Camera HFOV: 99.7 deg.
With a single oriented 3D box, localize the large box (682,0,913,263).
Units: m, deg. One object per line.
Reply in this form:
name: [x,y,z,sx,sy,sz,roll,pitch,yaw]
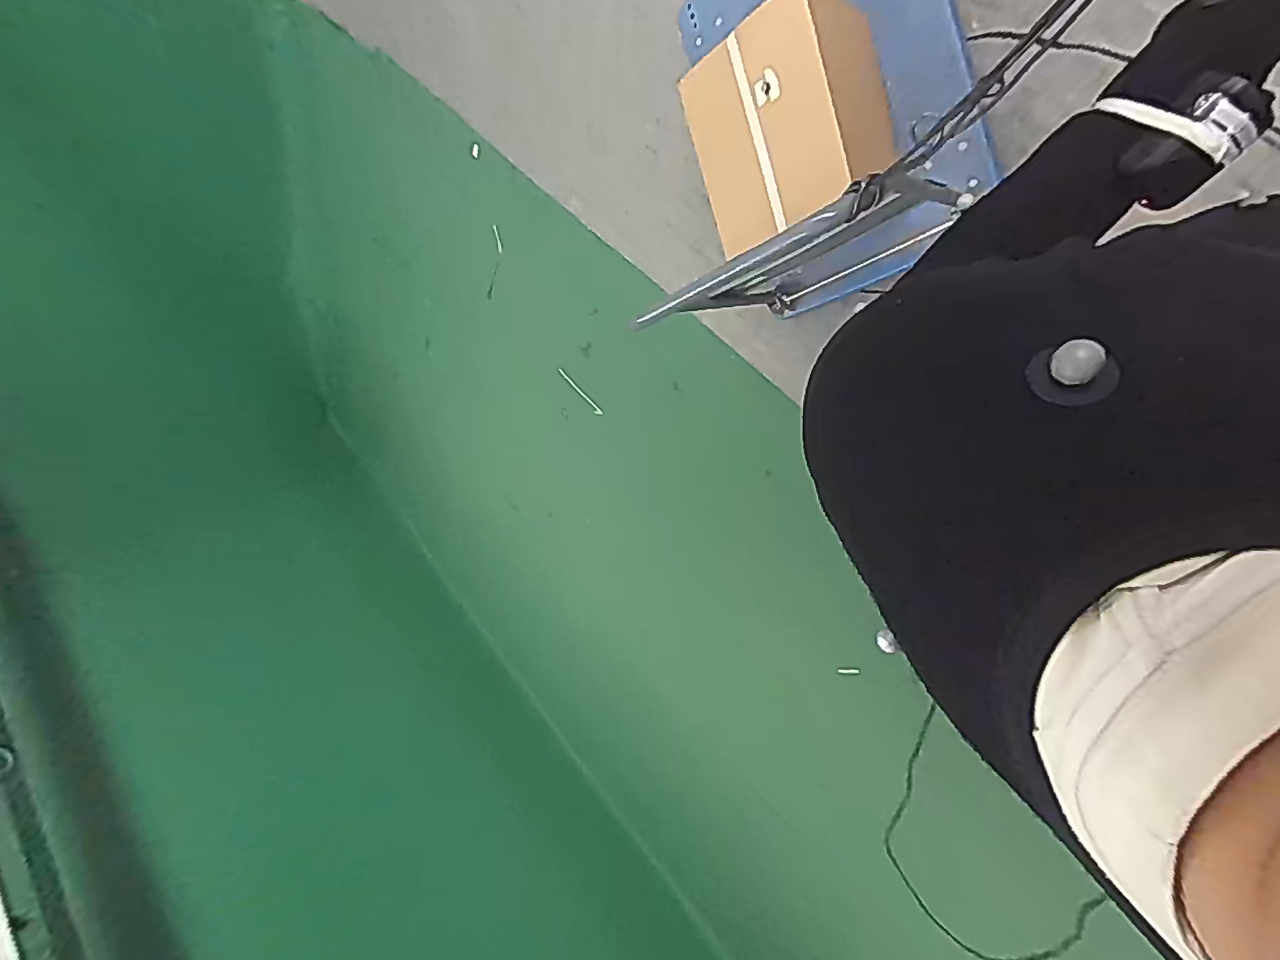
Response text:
large box: [0.357,-0.748,1.207,0.320,0.320,0.408,-10,101,47]
